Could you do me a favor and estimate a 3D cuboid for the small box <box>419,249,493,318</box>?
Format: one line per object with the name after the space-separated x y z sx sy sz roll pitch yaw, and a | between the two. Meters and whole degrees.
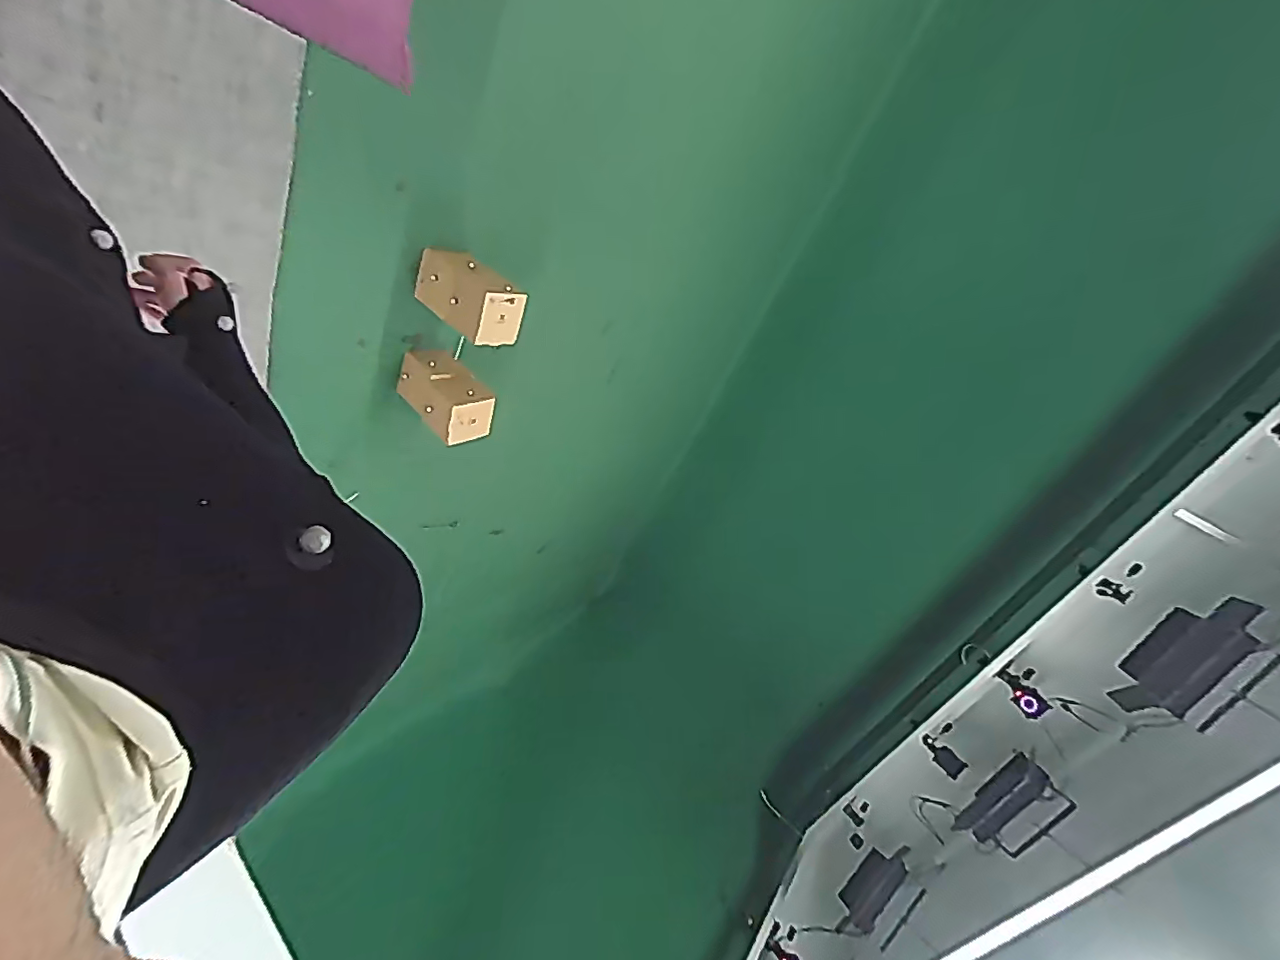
-0.606 -0.649 1.799 0.179 0.176 0.168 -18 141 -53 | small box

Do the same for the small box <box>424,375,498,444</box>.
-0.636 -0.257 1.919 0.179 0.176 0.168 -23 145 -46 | small box

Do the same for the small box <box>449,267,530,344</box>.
-0.488 -0.555 1.734 0.168 0.176 0.179 -20 143 -51 | small box
